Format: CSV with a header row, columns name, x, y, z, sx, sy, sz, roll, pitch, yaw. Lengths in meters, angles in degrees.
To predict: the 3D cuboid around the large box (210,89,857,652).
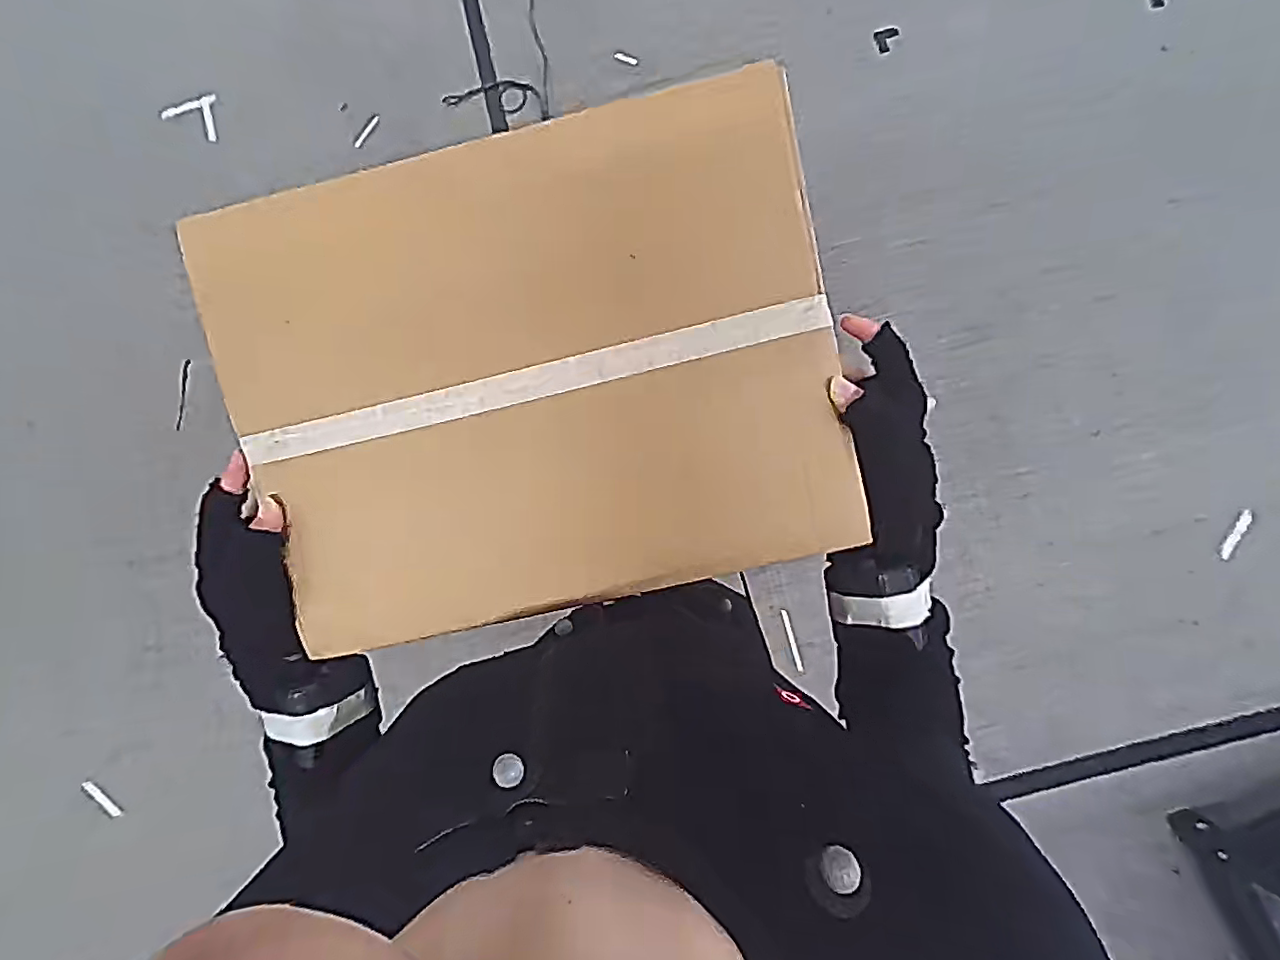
name,x,y,z,sx,sy,sz,roll,pitch,yaw
large box,-0.065,-0.079,0.522,0.408,0.320,0.320,-12,95,4
